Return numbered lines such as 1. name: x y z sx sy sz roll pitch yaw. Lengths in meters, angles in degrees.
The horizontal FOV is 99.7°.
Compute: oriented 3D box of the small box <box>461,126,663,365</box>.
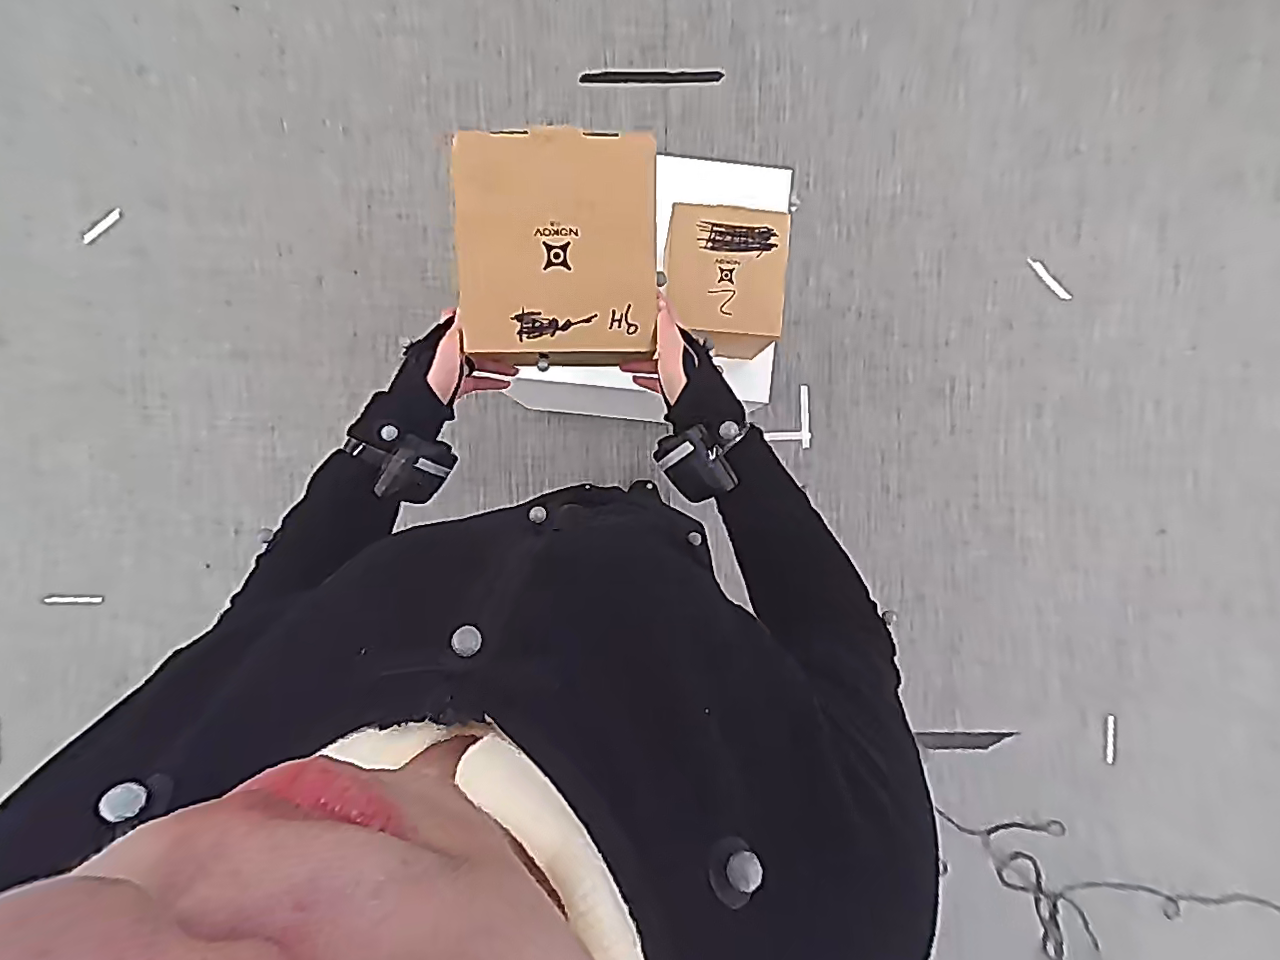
1. small box: -0.067 -0.208 0.525 0.168 0.176 0.179 0 99 -2
